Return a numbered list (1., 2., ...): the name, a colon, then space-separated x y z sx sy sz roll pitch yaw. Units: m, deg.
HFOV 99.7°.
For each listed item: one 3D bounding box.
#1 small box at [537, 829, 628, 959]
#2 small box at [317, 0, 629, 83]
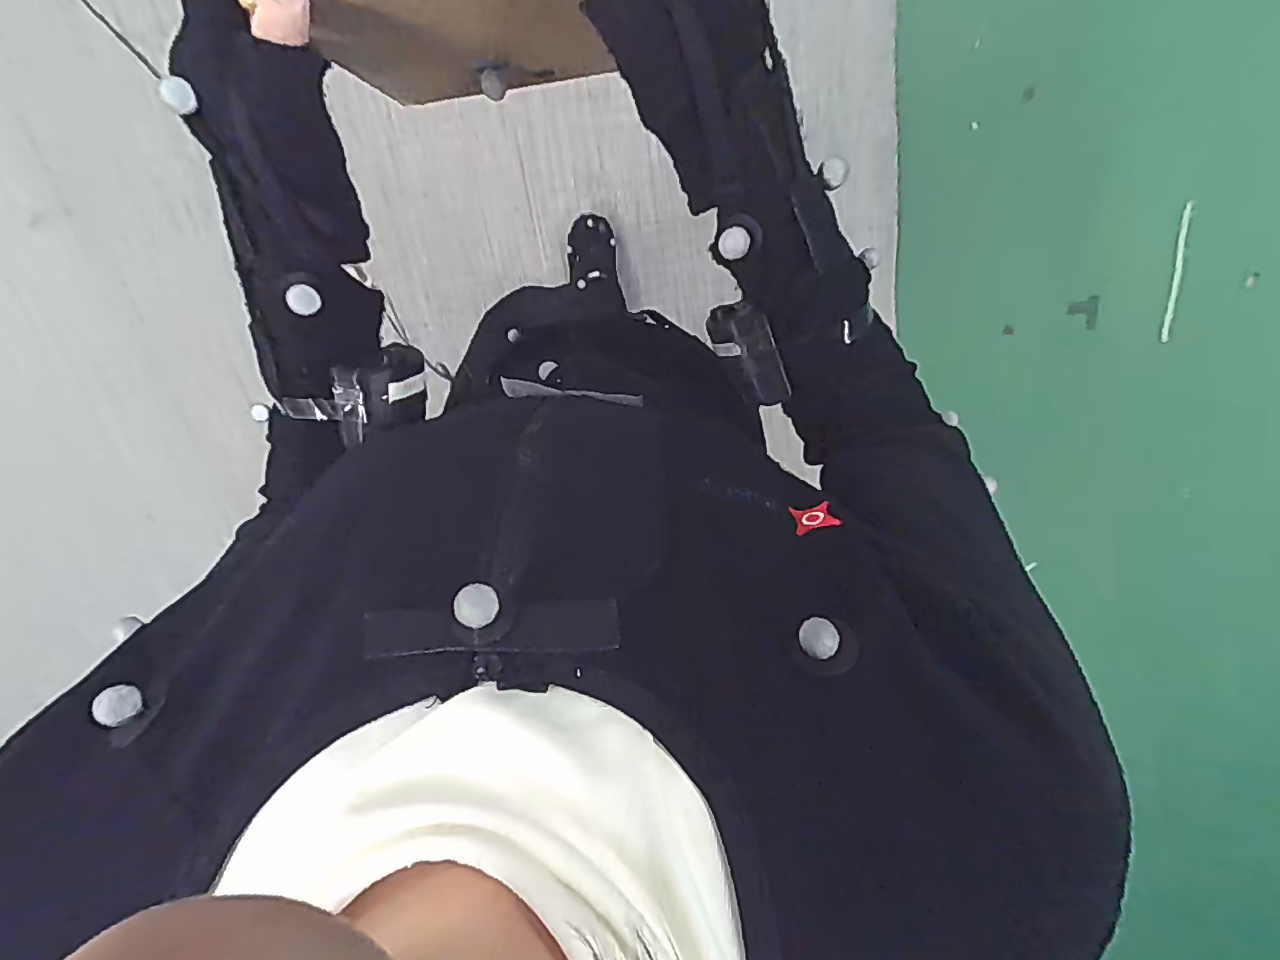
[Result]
1. small box: -0.127 0.970 1.276 0.168 0.176 0.179 -16 110 4
2. small box: -0.097 -0.328 0.260 0.168 0.176 0.179 -6 113 4
